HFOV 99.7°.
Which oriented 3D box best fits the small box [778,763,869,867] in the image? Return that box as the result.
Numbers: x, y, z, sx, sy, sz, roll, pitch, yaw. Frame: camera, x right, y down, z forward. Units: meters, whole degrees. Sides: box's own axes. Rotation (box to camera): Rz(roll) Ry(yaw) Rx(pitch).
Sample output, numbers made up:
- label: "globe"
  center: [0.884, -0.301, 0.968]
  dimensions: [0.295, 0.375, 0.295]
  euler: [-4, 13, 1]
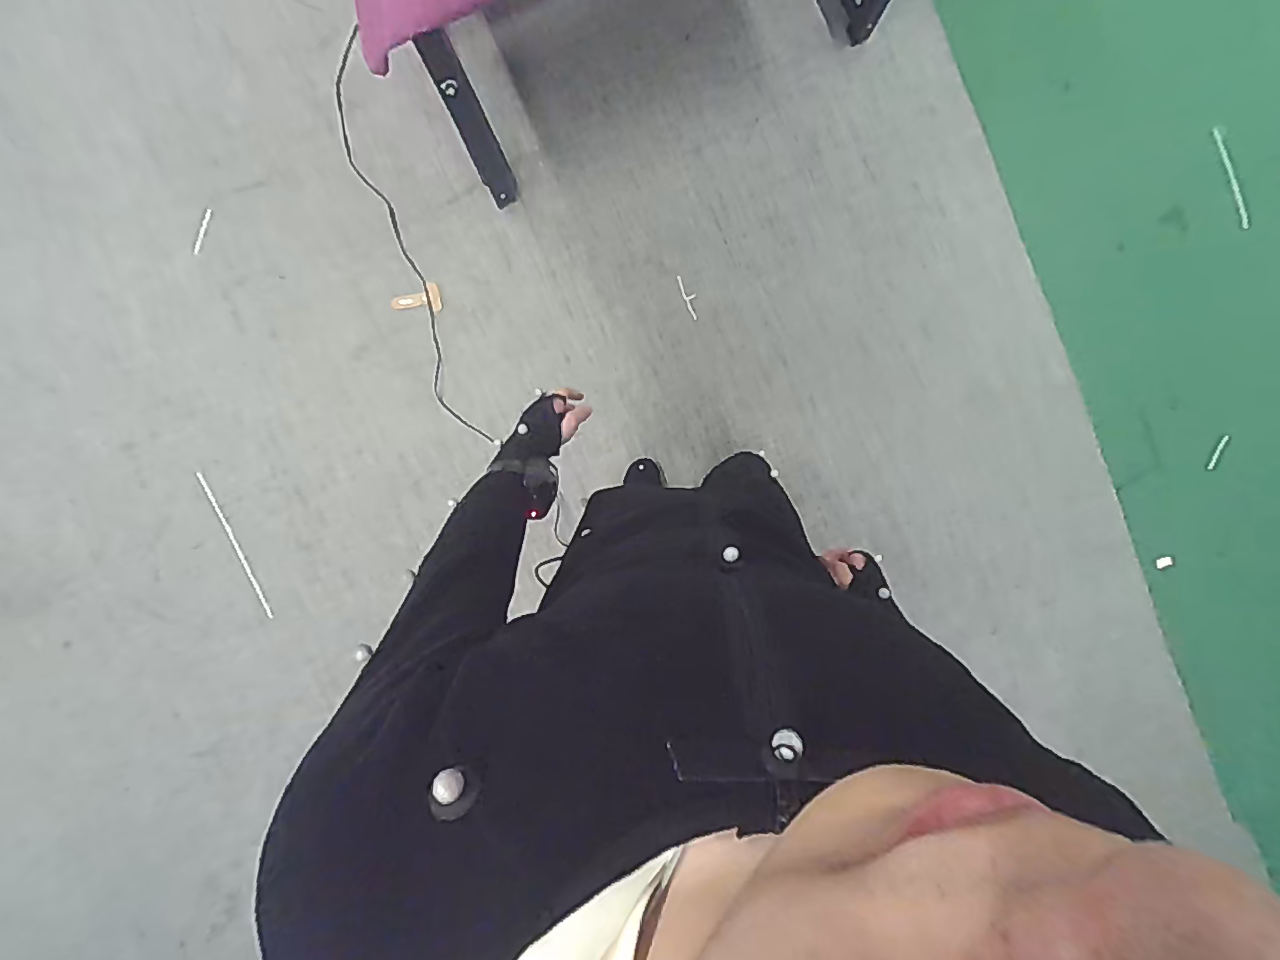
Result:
- label: "small box"
  center: [0.534, 0.980, 1.599]
  dimensions: [0.179, 0.176, 0.168]
  euler: [-24, 93, 0]
